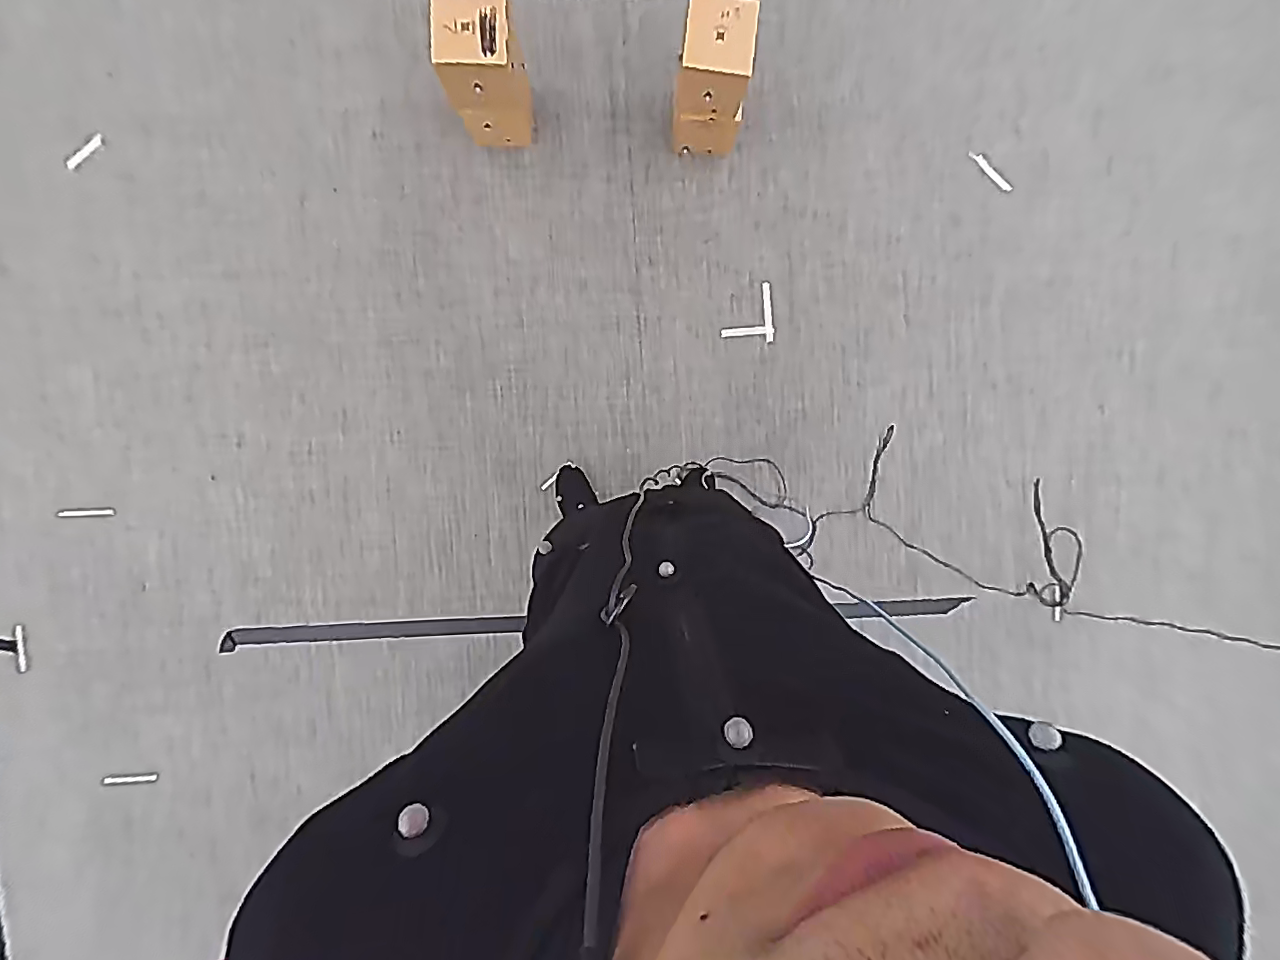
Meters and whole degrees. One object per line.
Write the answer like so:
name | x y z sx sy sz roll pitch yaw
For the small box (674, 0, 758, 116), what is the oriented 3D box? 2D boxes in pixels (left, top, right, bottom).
small box | 0.178 -1.035 1.322 0.168 0.176 0.179 6 93 -4

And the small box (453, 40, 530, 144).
small box | -0.396 -1.041 1.465 0.168 0.176 0.179 -1 93 -2

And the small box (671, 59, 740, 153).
small box | 0.177 -1.033 1.487 0.168 0.176 0.179 0 93 -3
